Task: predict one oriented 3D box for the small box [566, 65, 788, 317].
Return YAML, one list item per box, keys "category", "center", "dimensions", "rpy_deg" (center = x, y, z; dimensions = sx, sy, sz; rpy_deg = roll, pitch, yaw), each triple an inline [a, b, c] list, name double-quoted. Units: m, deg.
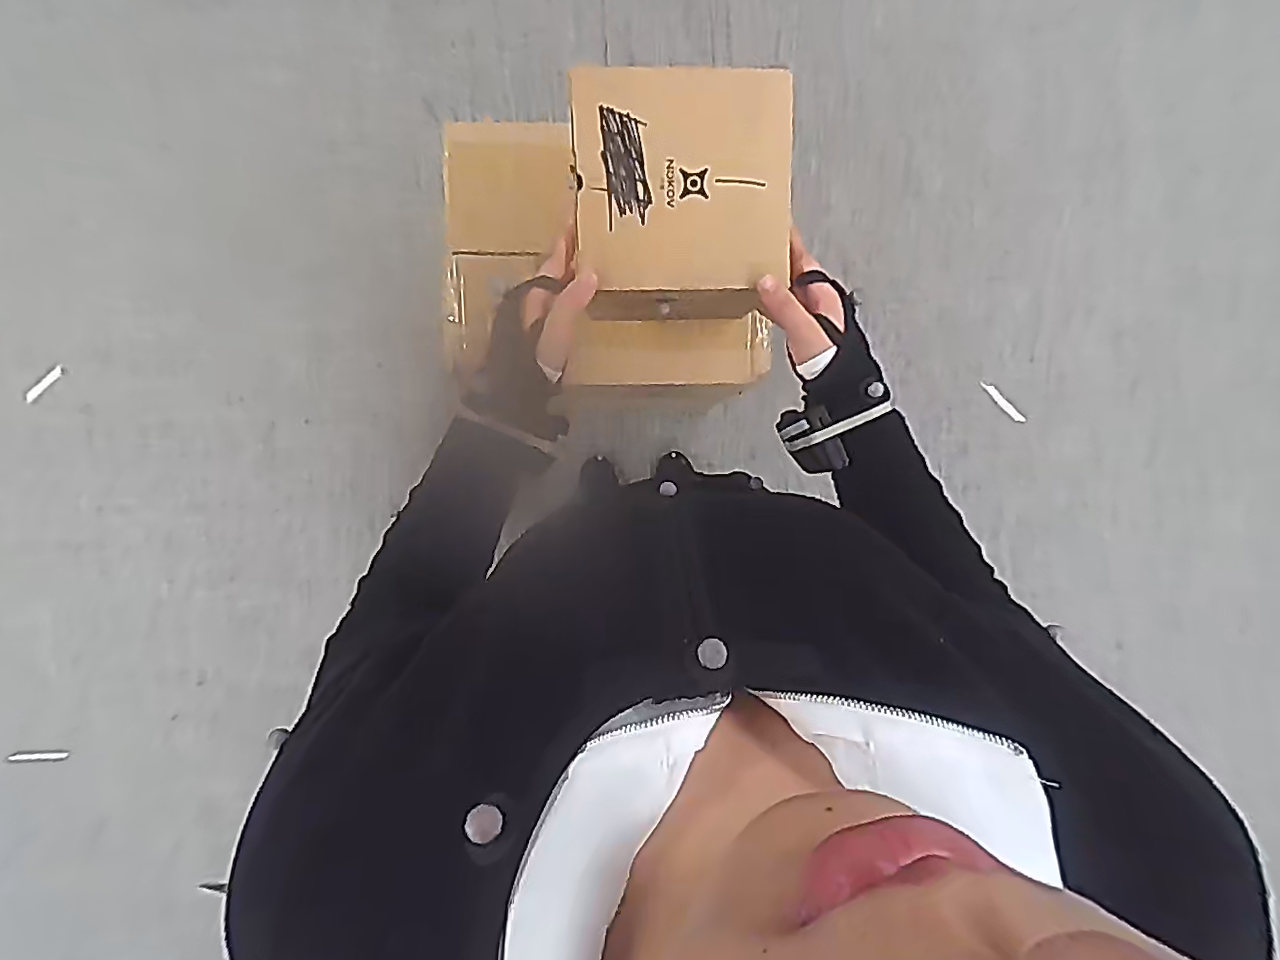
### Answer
- category: "small box"
  center: [0.027, -0.250, 0.510]
  dimensions: [0.179, 0.176, 0.168]
  rpy_deg: [-2, 98, -3]
